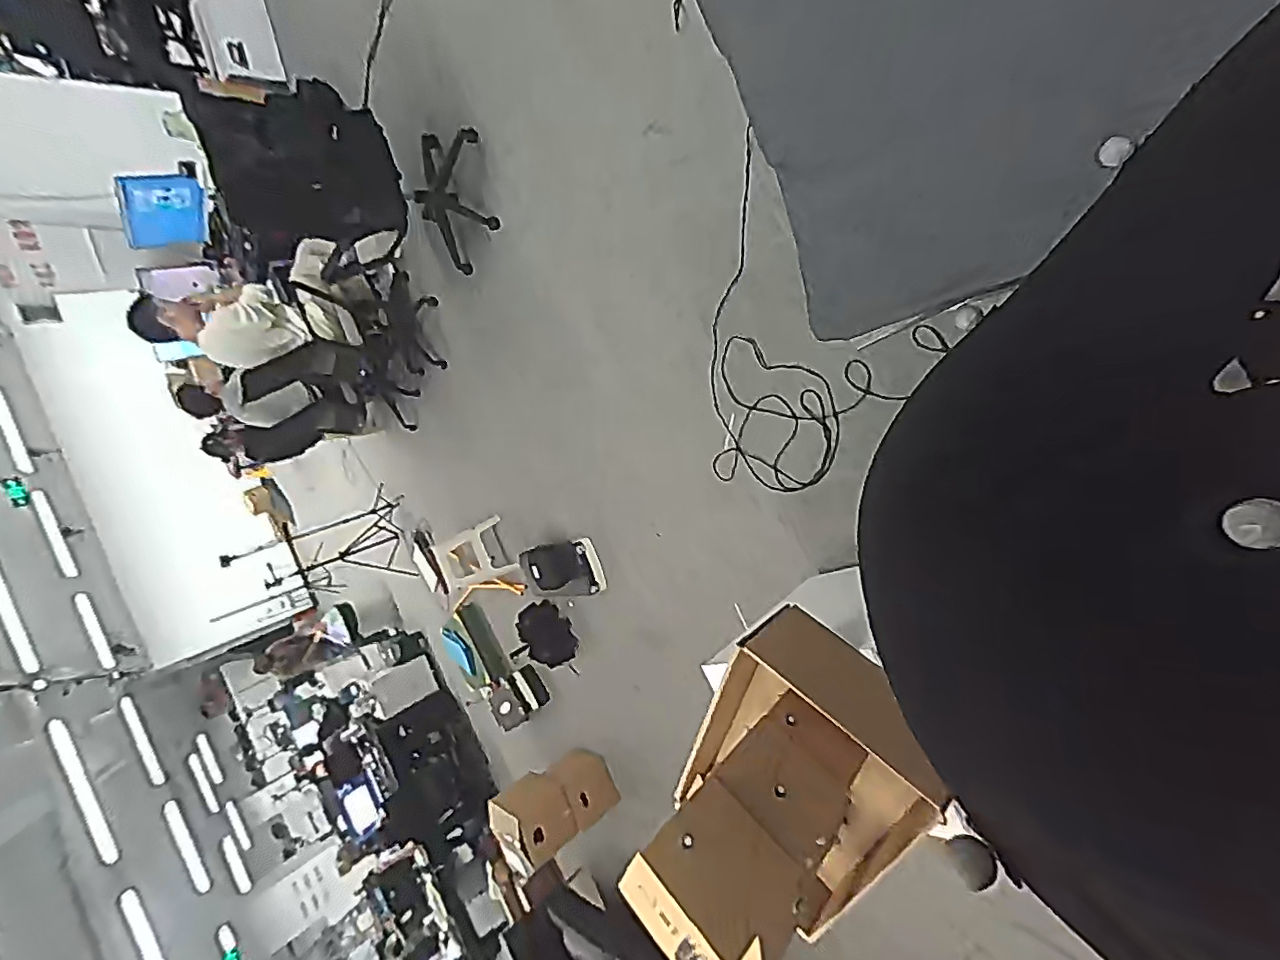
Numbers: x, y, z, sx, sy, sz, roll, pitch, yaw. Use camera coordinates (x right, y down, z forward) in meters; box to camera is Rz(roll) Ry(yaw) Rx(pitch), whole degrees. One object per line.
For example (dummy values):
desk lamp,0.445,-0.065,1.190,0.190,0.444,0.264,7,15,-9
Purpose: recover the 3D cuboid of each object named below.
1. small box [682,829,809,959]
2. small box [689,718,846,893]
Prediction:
small box,0.209,0.779,1.059,0.179,0.176,0.168,8,115,43
small box,0.217,0.546,0.933,0.179,0.176,0.168,36,134,29
